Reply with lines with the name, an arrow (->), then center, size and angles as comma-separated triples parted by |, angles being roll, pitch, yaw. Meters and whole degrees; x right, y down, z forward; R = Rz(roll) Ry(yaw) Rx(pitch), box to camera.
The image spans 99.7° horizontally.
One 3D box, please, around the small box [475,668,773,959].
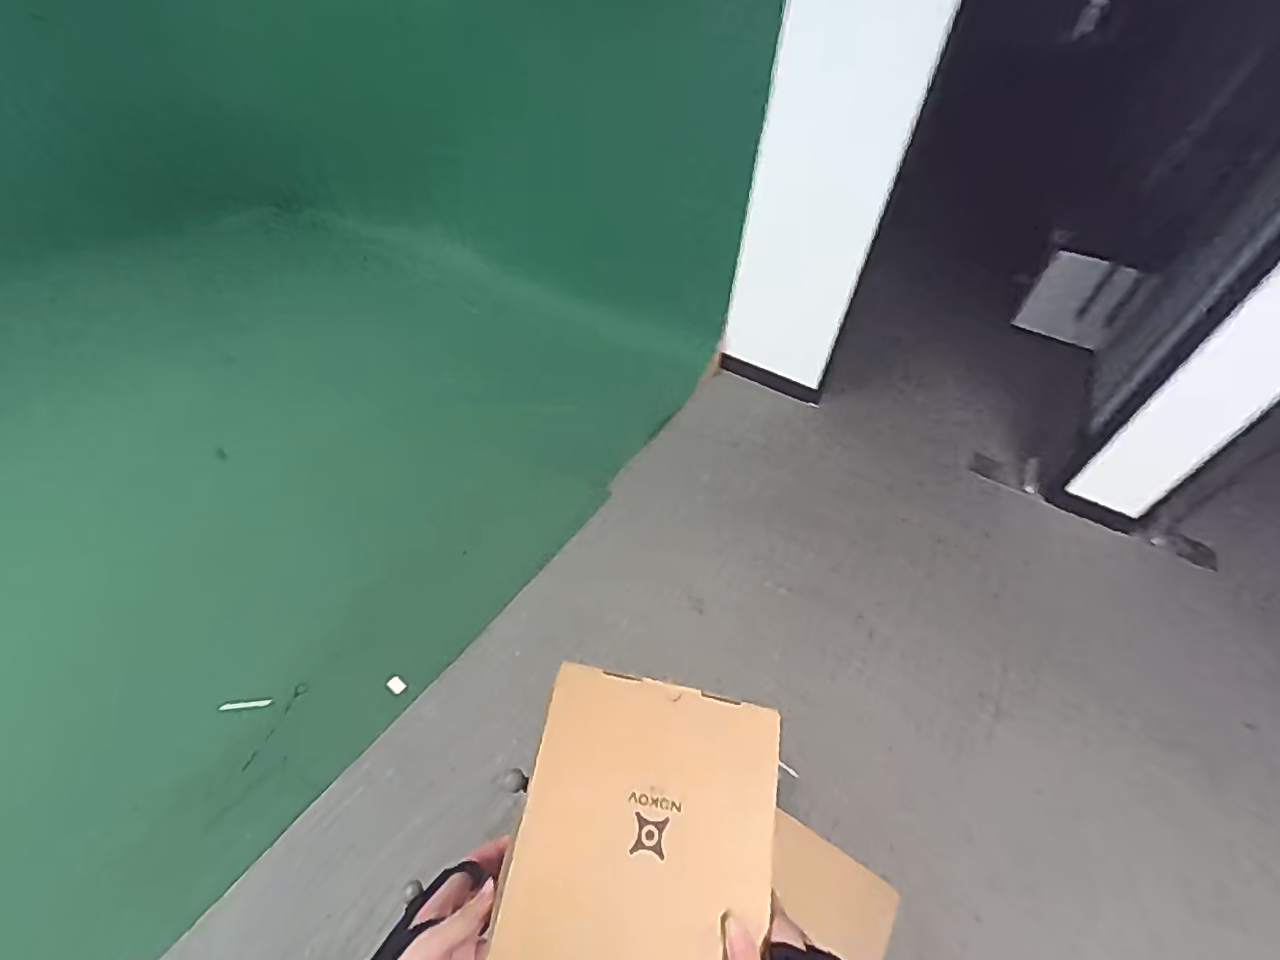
small box -> -0.014, 0.262, 0.415 | 0.168, 0.176, 0.179 | 15, 61, -5
